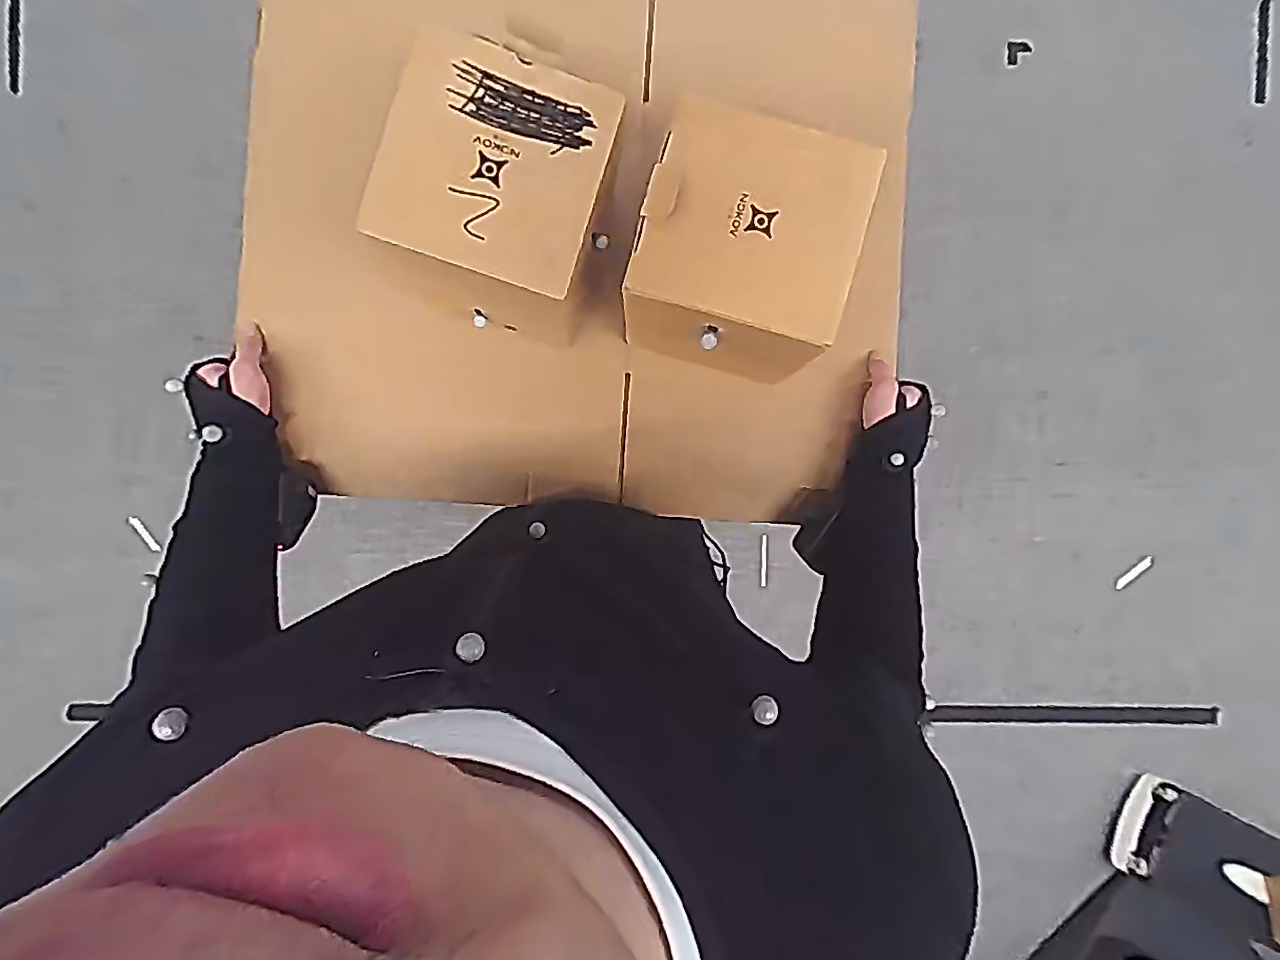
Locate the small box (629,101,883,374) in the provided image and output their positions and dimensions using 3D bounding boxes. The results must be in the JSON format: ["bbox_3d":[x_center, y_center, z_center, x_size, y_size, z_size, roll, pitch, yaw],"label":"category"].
[{"bbox_3d":[0.096,-0.211,0.523,0.179,0.176,0.168,16,89,1],"label":"small box"}]
